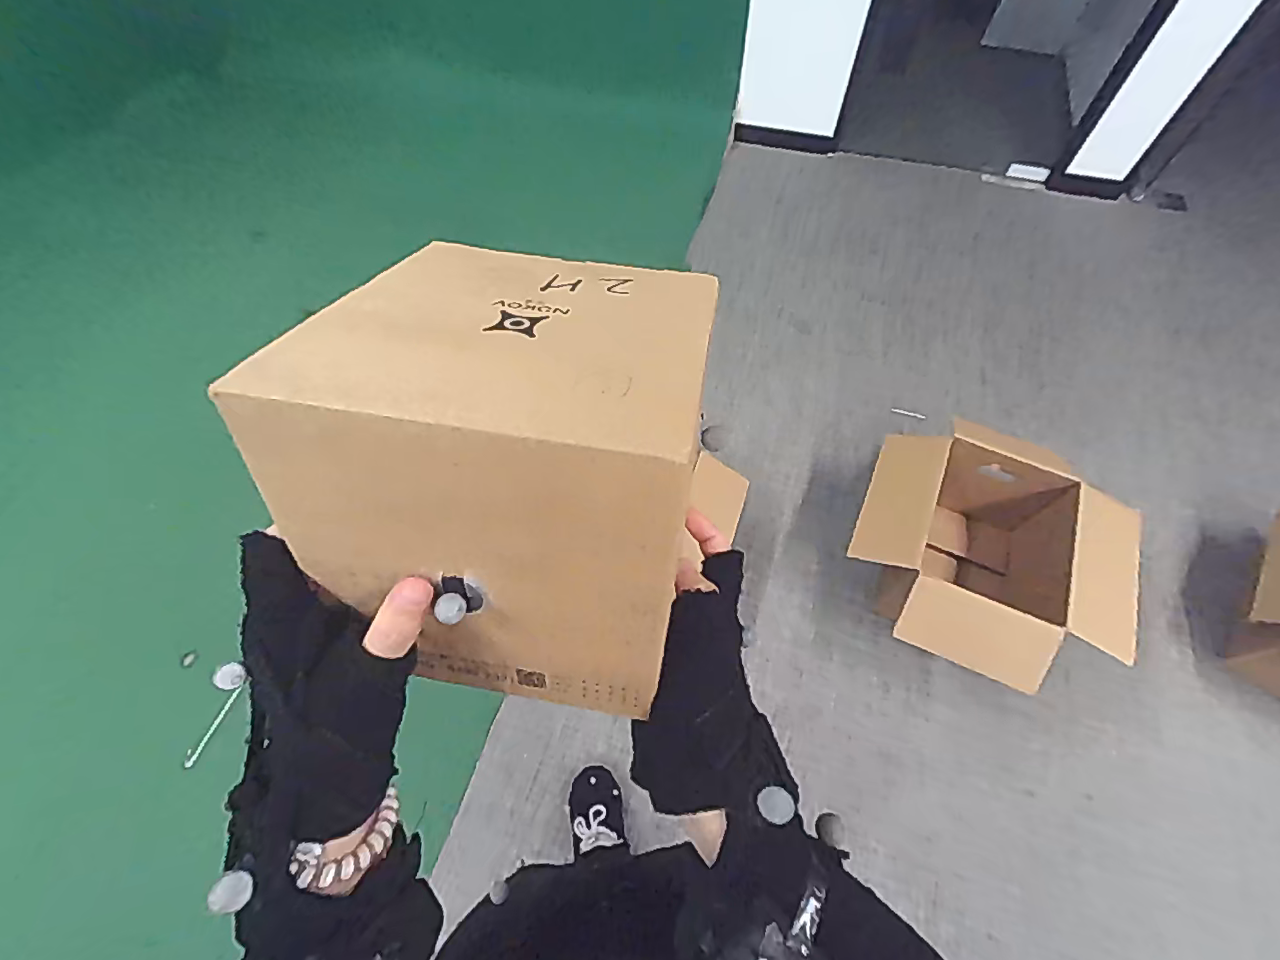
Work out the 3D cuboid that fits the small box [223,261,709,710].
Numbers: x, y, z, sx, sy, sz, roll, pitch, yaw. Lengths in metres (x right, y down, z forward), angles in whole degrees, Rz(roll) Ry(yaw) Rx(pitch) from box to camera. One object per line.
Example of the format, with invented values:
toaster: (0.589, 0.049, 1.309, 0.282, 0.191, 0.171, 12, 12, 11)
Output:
small box: (-0.060, -0.002, 0.299, 0.168, 0.176, 0.179, 9, 40, 6)
